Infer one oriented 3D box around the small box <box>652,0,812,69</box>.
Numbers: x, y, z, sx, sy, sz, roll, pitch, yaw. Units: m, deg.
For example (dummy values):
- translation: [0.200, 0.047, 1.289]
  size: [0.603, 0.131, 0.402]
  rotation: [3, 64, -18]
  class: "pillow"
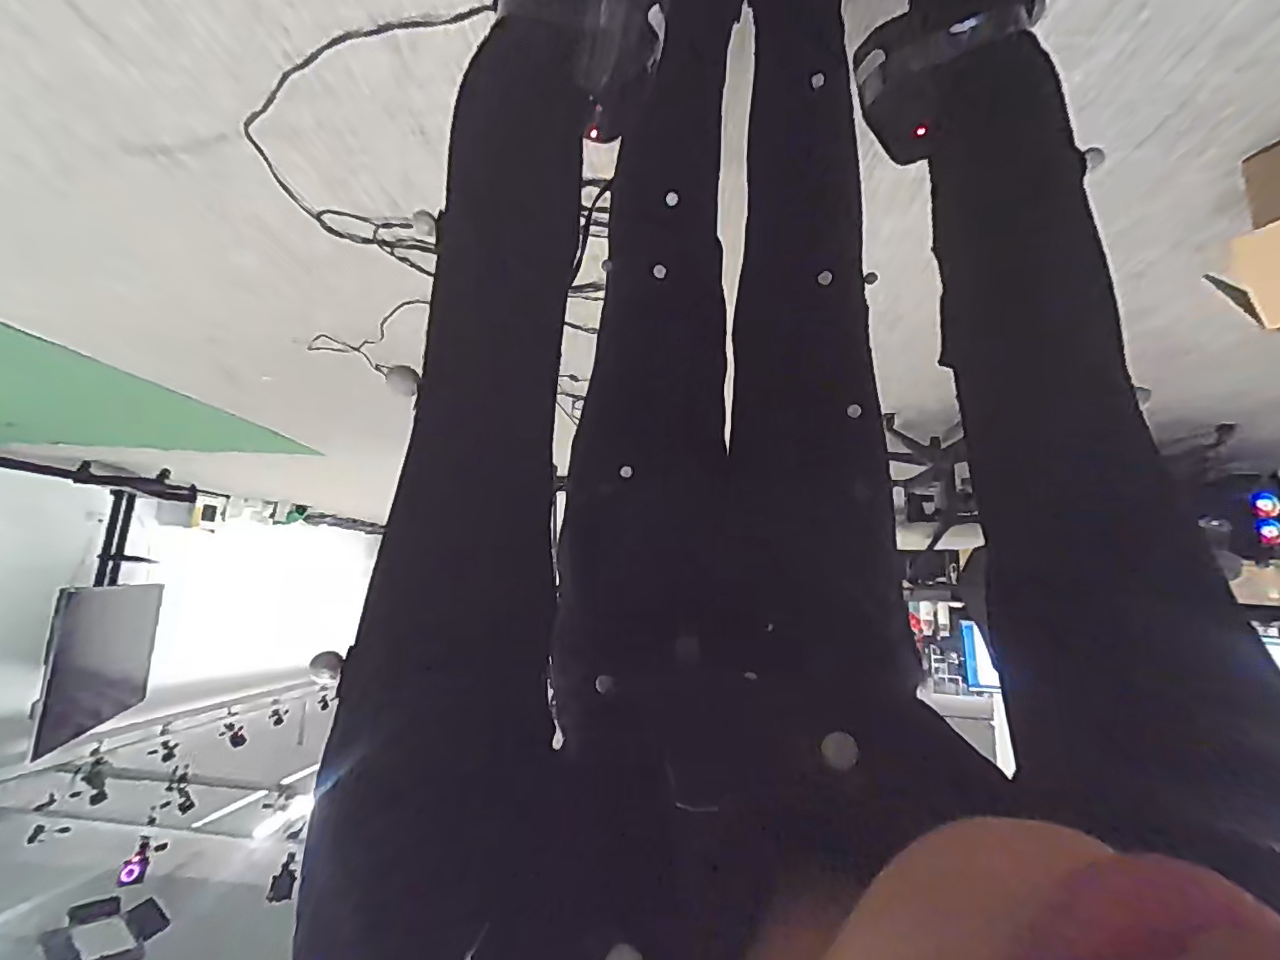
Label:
- translation: [0.101, -0.602, 0.593]
  size: [0.168, 0.176, 0.179]
  rotation: [-6, 172, -3]
  class: "small box"
